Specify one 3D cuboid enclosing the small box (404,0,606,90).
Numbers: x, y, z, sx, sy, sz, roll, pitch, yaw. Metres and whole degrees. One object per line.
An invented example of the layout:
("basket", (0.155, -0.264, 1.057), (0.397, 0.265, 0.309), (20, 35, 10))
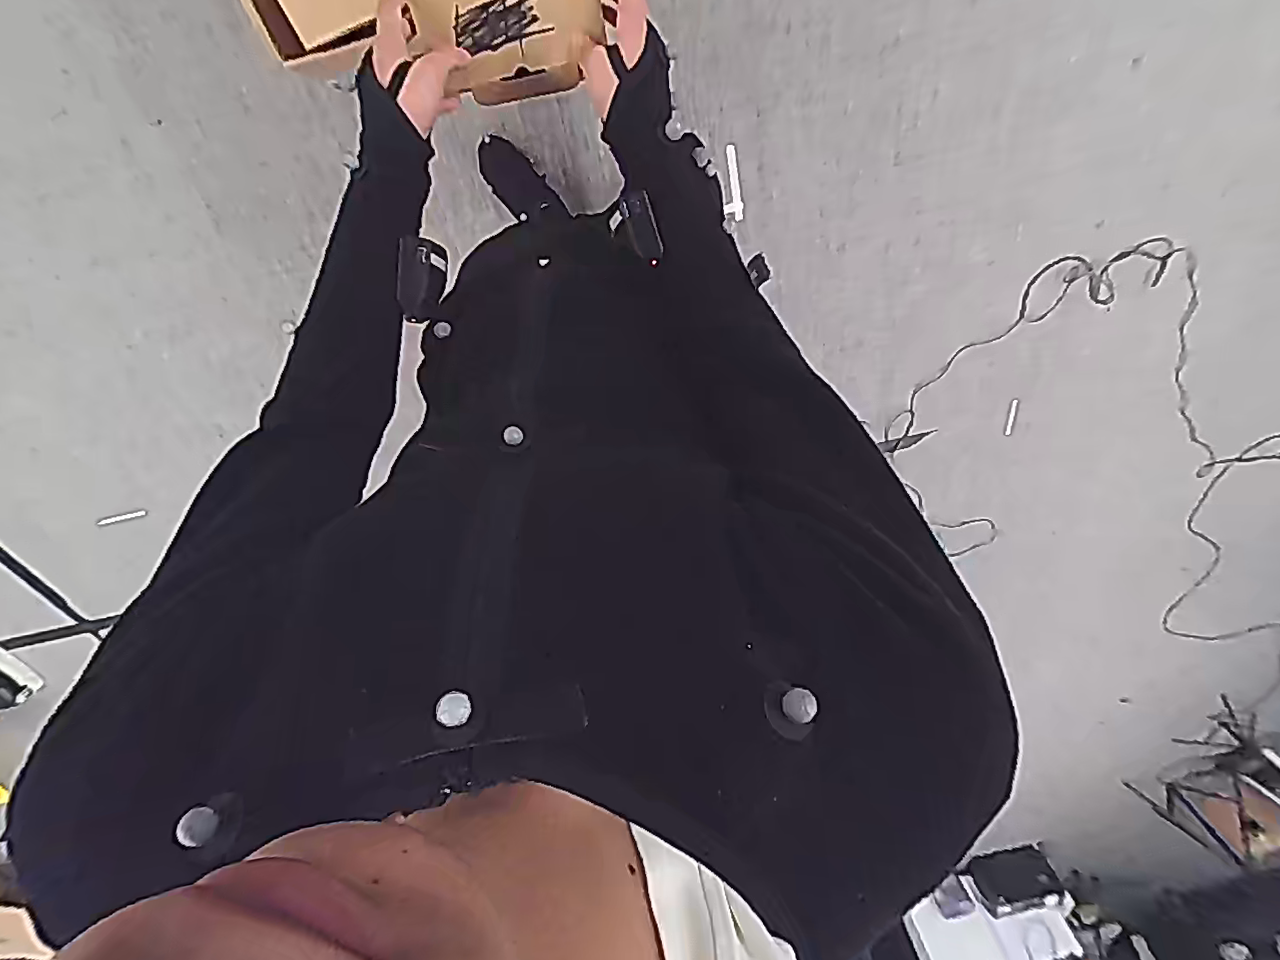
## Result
("small box", (-0.127, -0.489, 0.506), (0.168, 0.176, 0.179), (-9, 127, 4))
